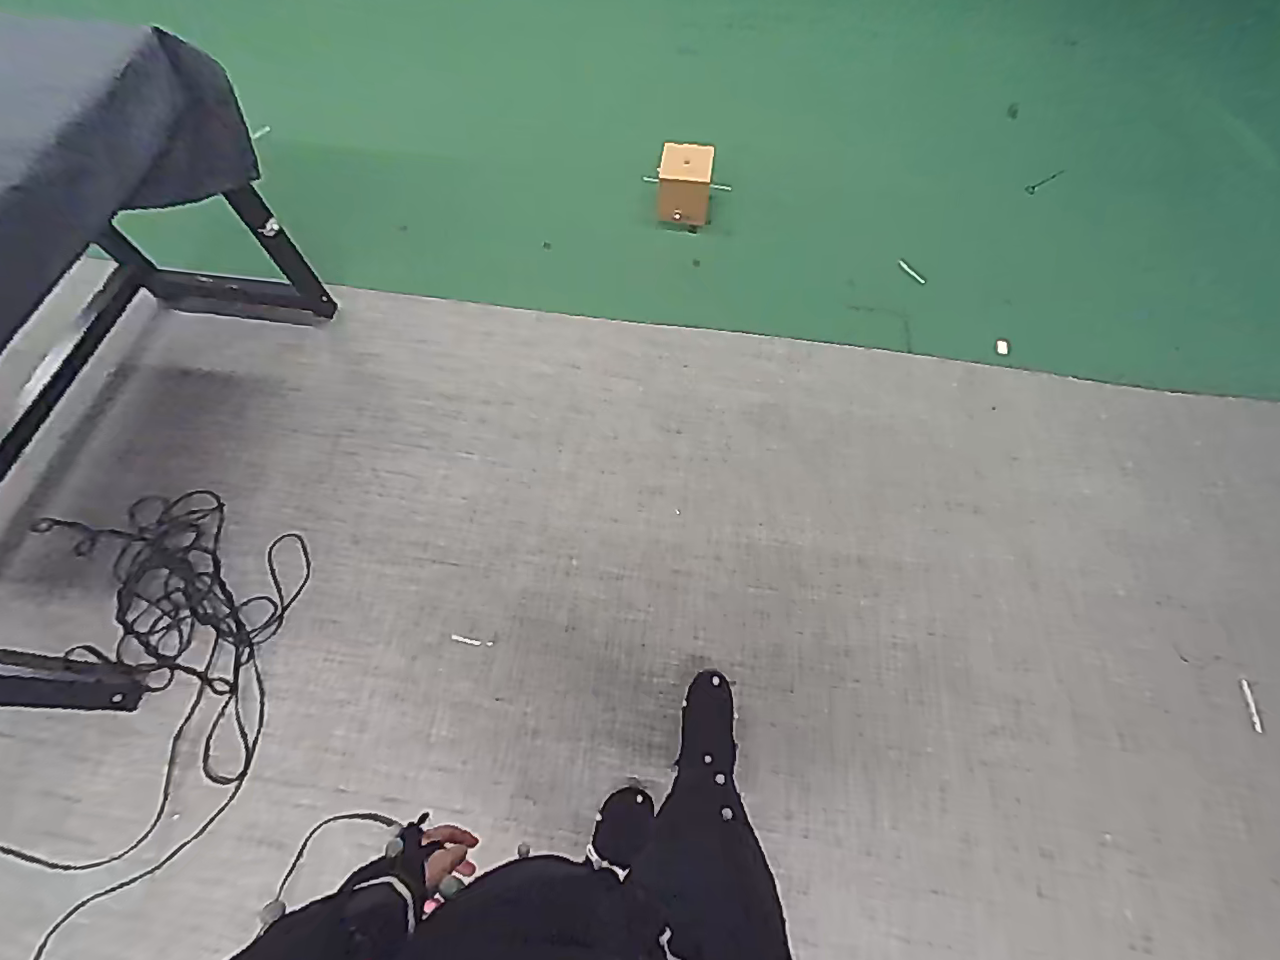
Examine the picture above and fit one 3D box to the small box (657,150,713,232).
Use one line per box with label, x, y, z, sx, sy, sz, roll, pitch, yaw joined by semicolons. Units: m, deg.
small box;0.148;-0.968;1.813;0.168;0.176;0.179;7;65;4
